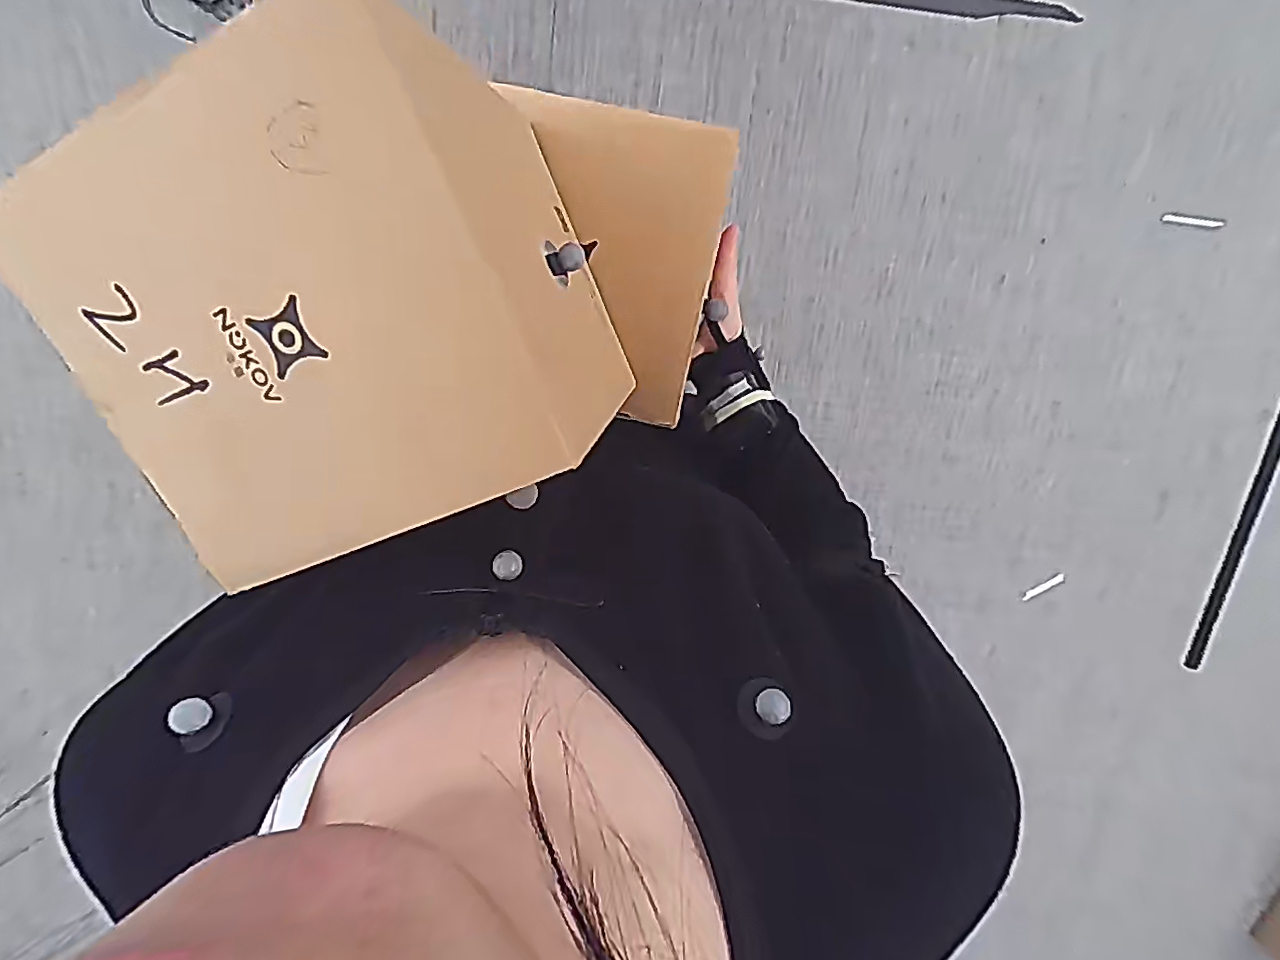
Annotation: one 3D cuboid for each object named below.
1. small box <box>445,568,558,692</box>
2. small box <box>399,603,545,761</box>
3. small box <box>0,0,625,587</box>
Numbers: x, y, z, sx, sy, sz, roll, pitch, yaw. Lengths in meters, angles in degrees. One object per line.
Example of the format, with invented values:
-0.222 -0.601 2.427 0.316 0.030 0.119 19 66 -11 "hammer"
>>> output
-0.250 0.273 1.012 0.168 0.176 0.179 -1 104 1 "small box"
-0.256 0.306 0.852 0.179 0.176 0.168 5 103 0 "small box"
-0.116 -0.078 0.274 0.179 0.176 0.168 -19 106 14 "small box"
